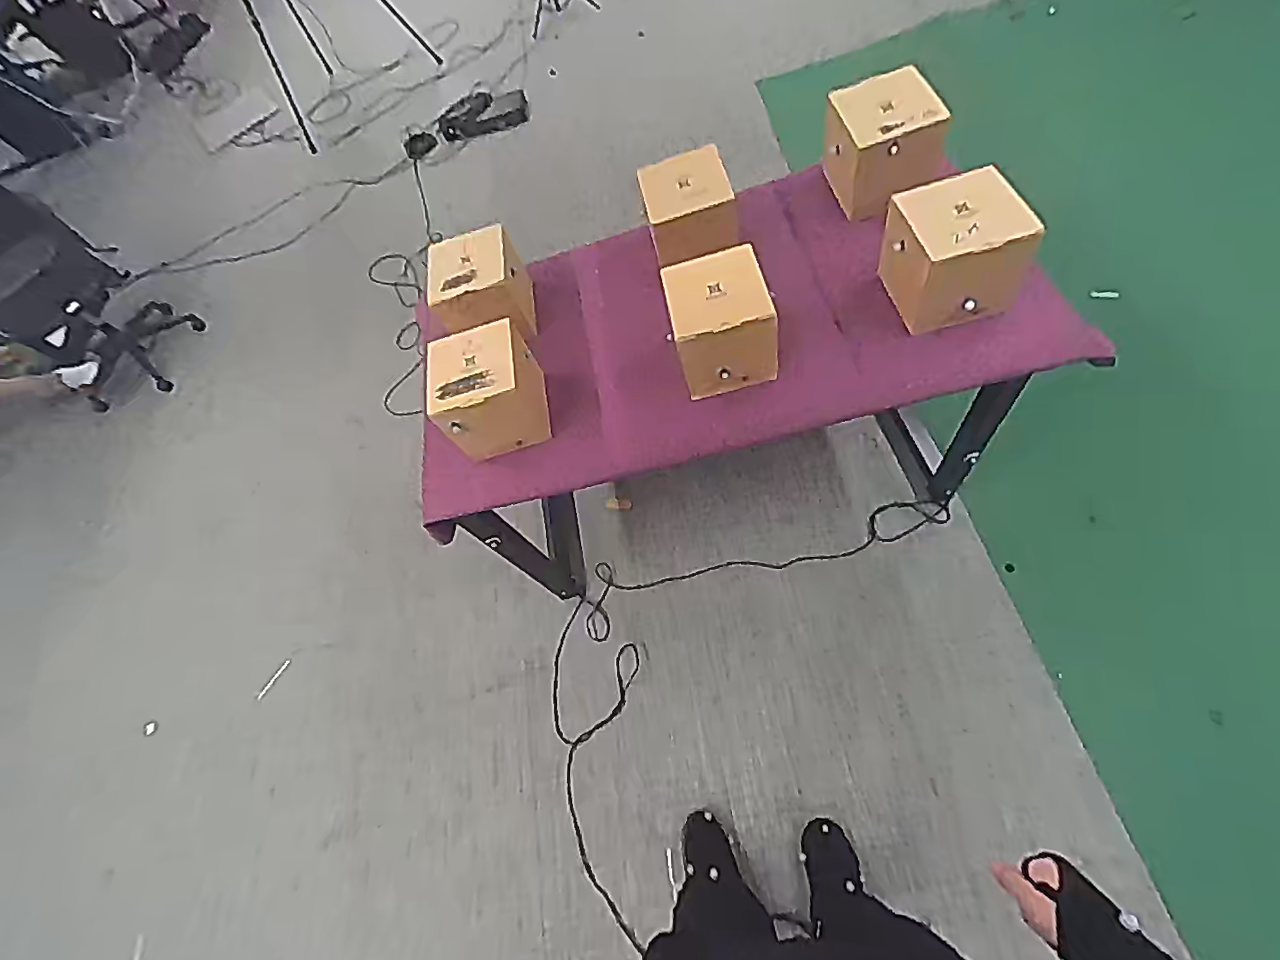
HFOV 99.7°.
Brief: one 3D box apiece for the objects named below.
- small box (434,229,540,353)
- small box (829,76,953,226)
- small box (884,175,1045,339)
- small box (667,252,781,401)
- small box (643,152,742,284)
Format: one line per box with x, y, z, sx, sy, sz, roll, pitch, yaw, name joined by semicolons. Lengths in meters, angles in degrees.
-0.324;-0.396;1.165;0.168;0.176;0.179;-14;61;7;small box
0.489;-0.654;1.087;0.168;0.176;0.179;-15;62;9;small box
0.538;-0.377;0.930;0.168;0.176;0.179;-13;60;9;small box
0.151;-0.273;0.982;0.168;0.176;0.179;-13;60;7;small box
0.112;-0.533;1.127;0.168;0.176;0.179;-14;62;8;small box
